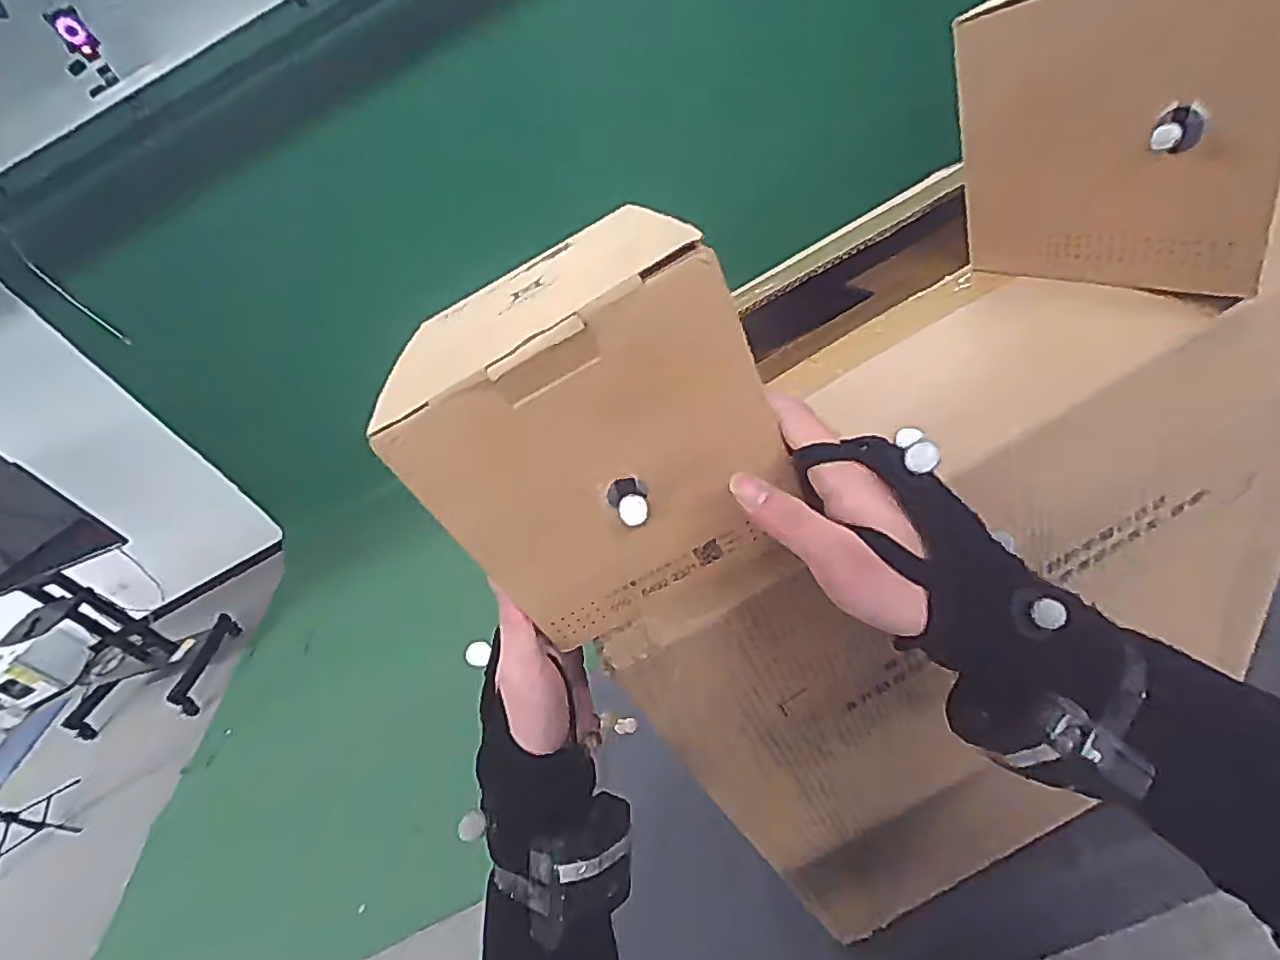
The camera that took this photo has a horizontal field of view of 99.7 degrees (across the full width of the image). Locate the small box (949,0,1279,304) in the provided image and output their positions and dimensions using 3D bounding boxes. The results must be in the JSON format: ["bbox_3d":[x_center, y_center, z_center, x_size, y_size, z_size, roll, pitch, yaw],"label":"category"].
[{"bbox_3d":[0.329,-0.227,0.331,0.168,0.176,0.179,-32,33,-8],"label":"small box"}]

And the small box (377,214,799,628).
[{"bbox_3d":[-0.024,-0.034,0.337,0.168,0.176,0.179,-28,34,4],"label":"small box"}]
